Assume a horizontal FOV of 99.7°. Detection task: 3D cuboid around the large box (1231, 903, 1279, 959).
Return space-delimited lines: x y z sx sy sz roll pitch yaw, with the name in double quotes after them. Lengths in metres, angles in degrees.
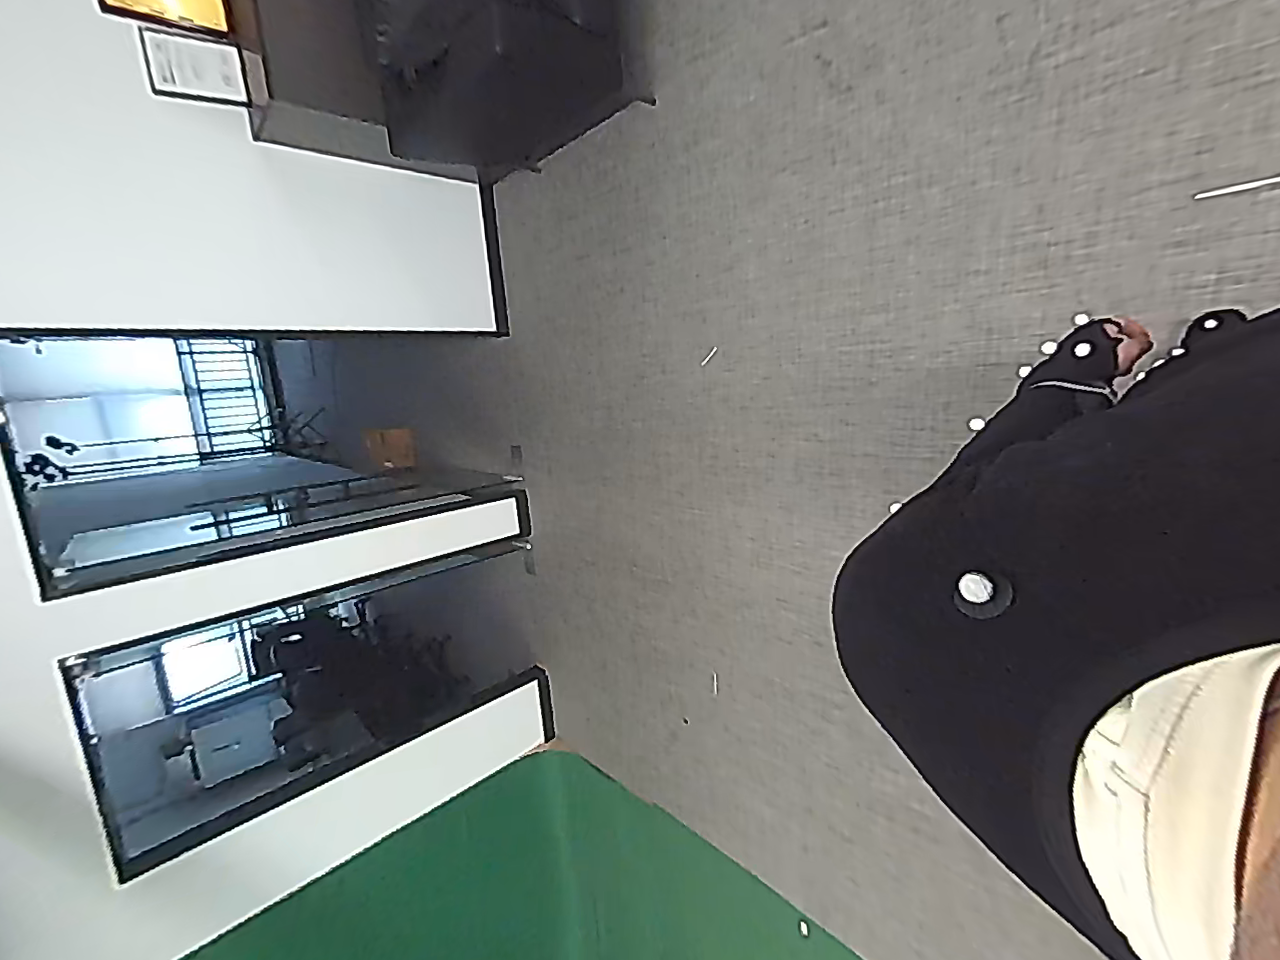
1.419 1.151 1.027 0.408 0.320 0.320 5 102 48 "large box"
